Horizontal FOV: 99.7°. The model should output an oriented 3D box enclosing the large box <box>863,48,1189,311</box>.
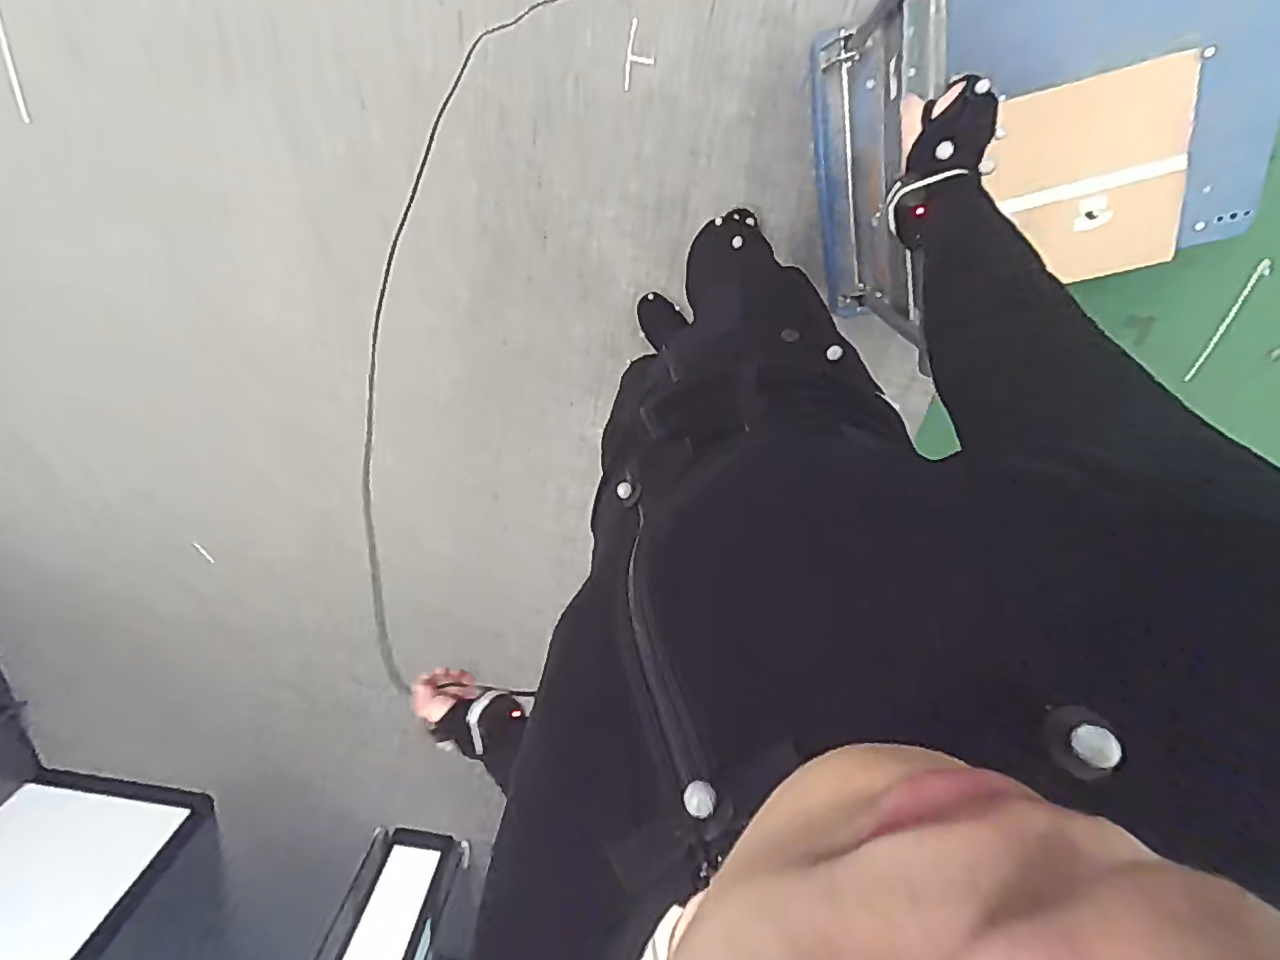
[{"bbox_3d":[0.693,-0.549,1.050,0.408,0.320,0.320,-10,115,10],"label":"large box"}]
